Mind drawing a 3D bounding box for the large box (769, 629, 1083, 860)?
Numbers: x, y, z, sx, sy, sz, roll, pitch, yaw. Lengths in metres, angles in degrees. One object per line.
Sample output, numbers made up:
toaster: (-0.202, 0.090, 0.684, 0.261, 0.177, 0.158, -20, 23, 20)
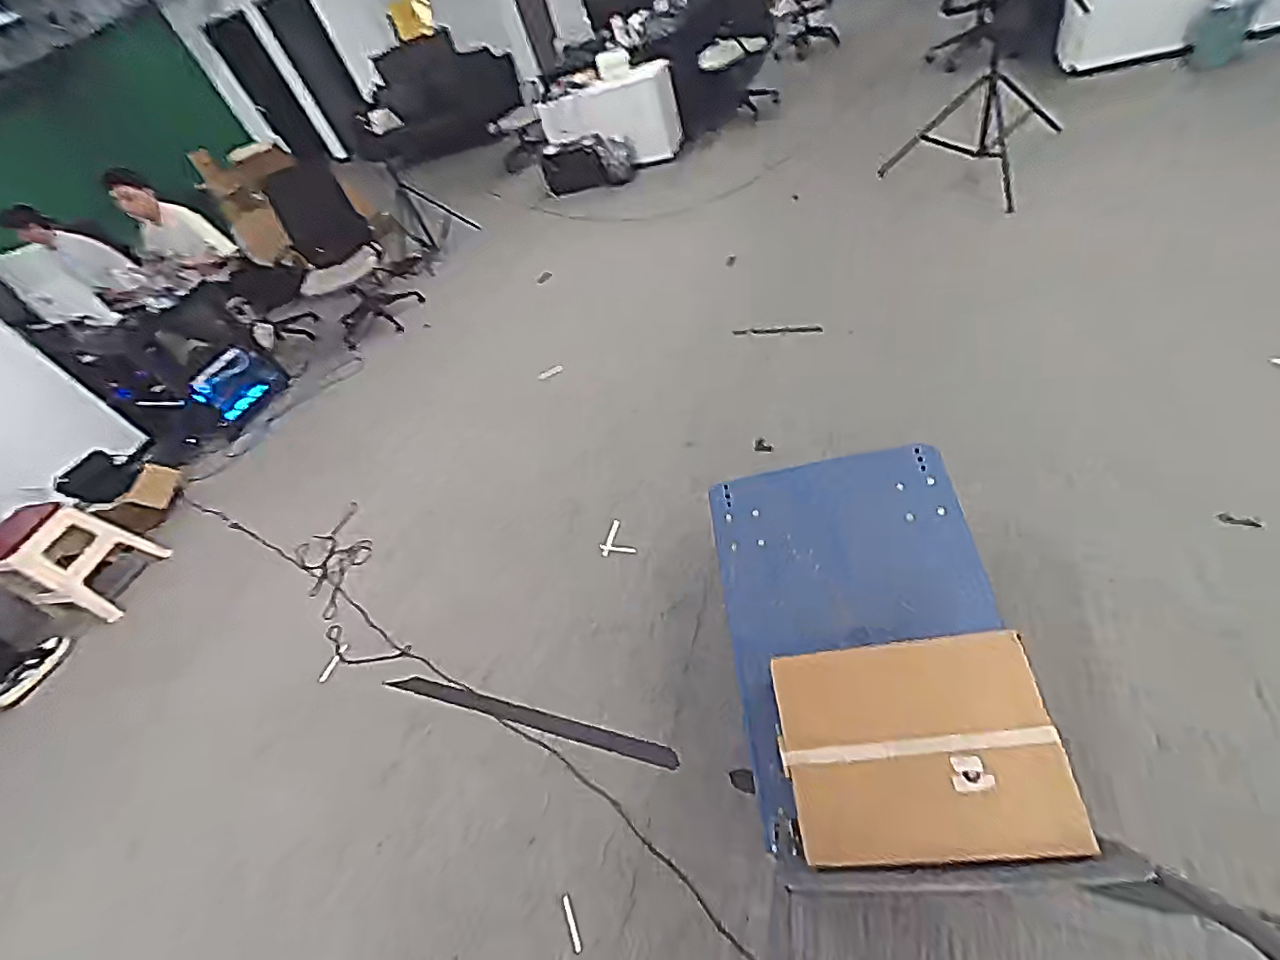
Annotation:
large box: (0.477, 0.486, 1.014, 0.408, 0.320, 0.320, -11, 65, 11)
